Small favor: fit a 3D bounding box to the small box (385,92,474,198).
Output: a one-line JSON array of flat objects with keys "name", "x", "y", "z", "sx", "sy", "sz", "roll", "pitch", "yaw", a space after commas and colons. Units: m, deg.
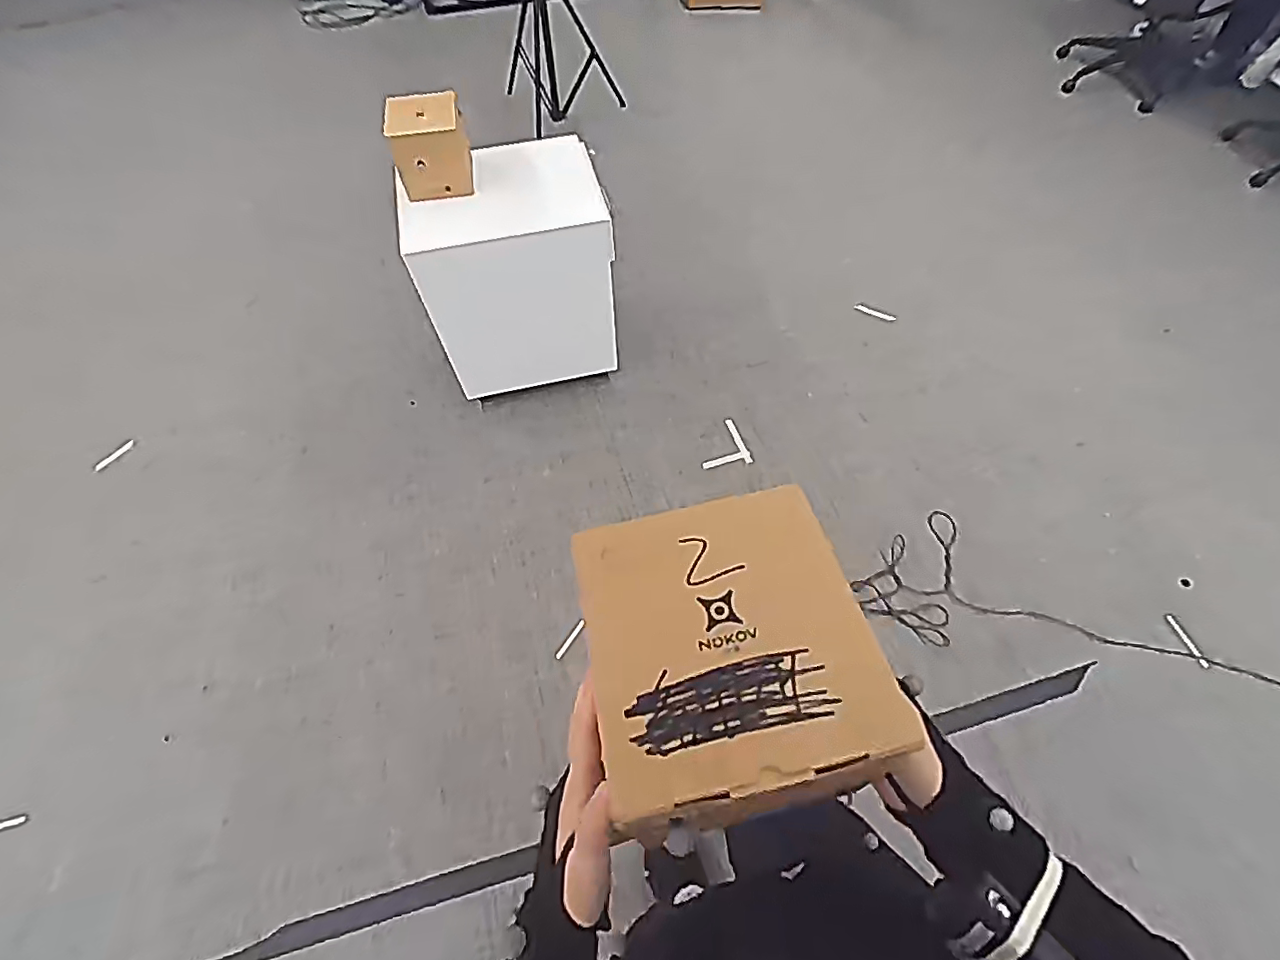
[{"name": "small box", "x": -0.520, "y": -0.832, "z": 1.357, "sx": 0.168, "sy": 0.176, "sz": 0.179, "roll": -10, "pitch": 61, "yaw": -5}]
